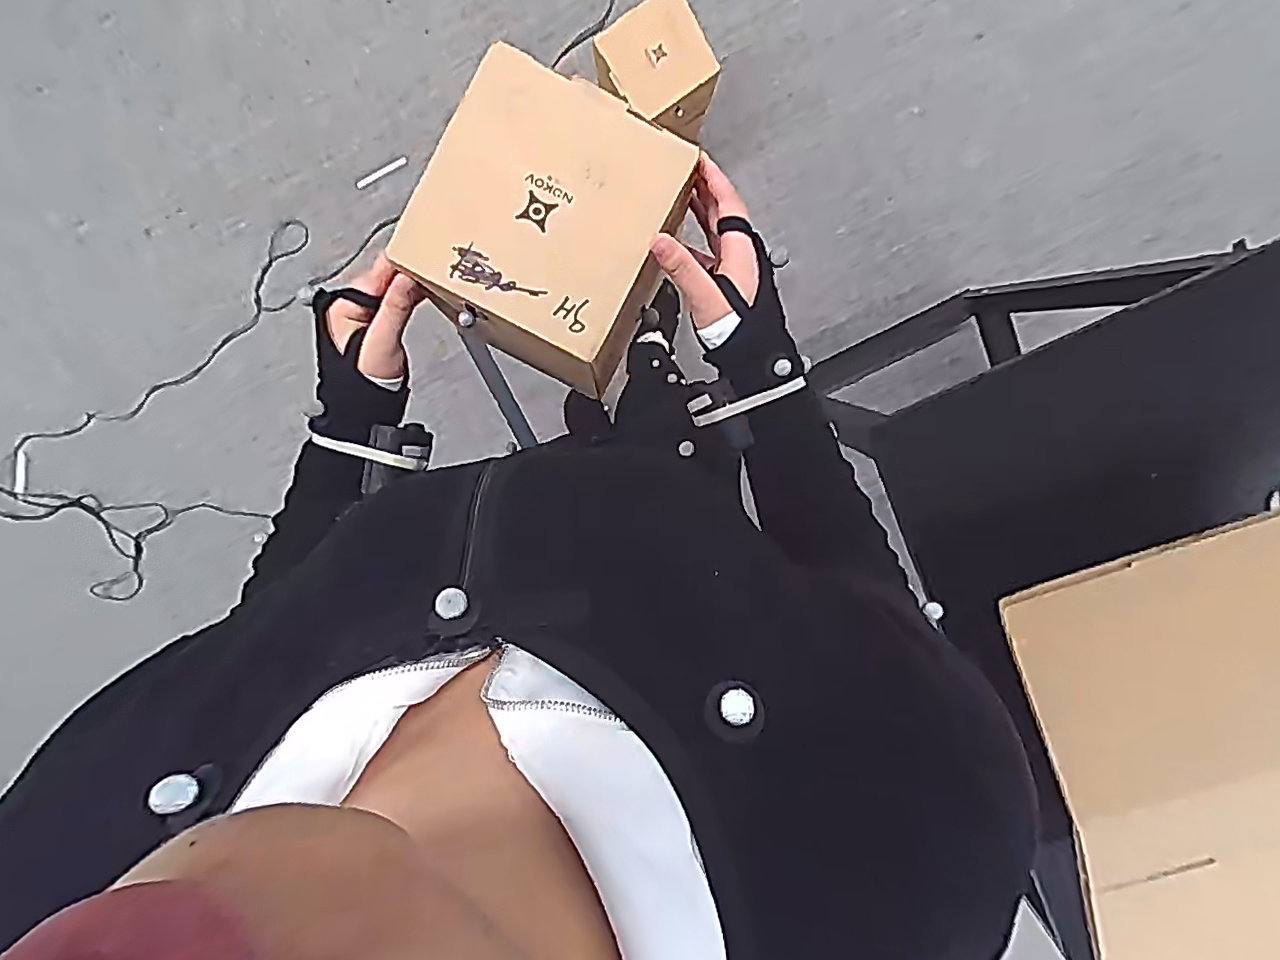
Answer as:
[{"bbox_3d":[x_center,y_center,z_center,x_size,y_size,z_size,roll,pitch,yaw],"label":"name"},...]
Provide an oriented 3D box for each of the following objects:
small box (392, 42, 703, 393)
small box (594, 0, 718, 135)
[{"bbox_3d":[-0.069,-0.197,0.462,0.168,0.176,0.179,27,87,-1],"label":"small box"},{"bbox_3d":[0.029,-0.777,1.060,0.179,0.176,0.168,-32,103,6],"label":"small box"}]
